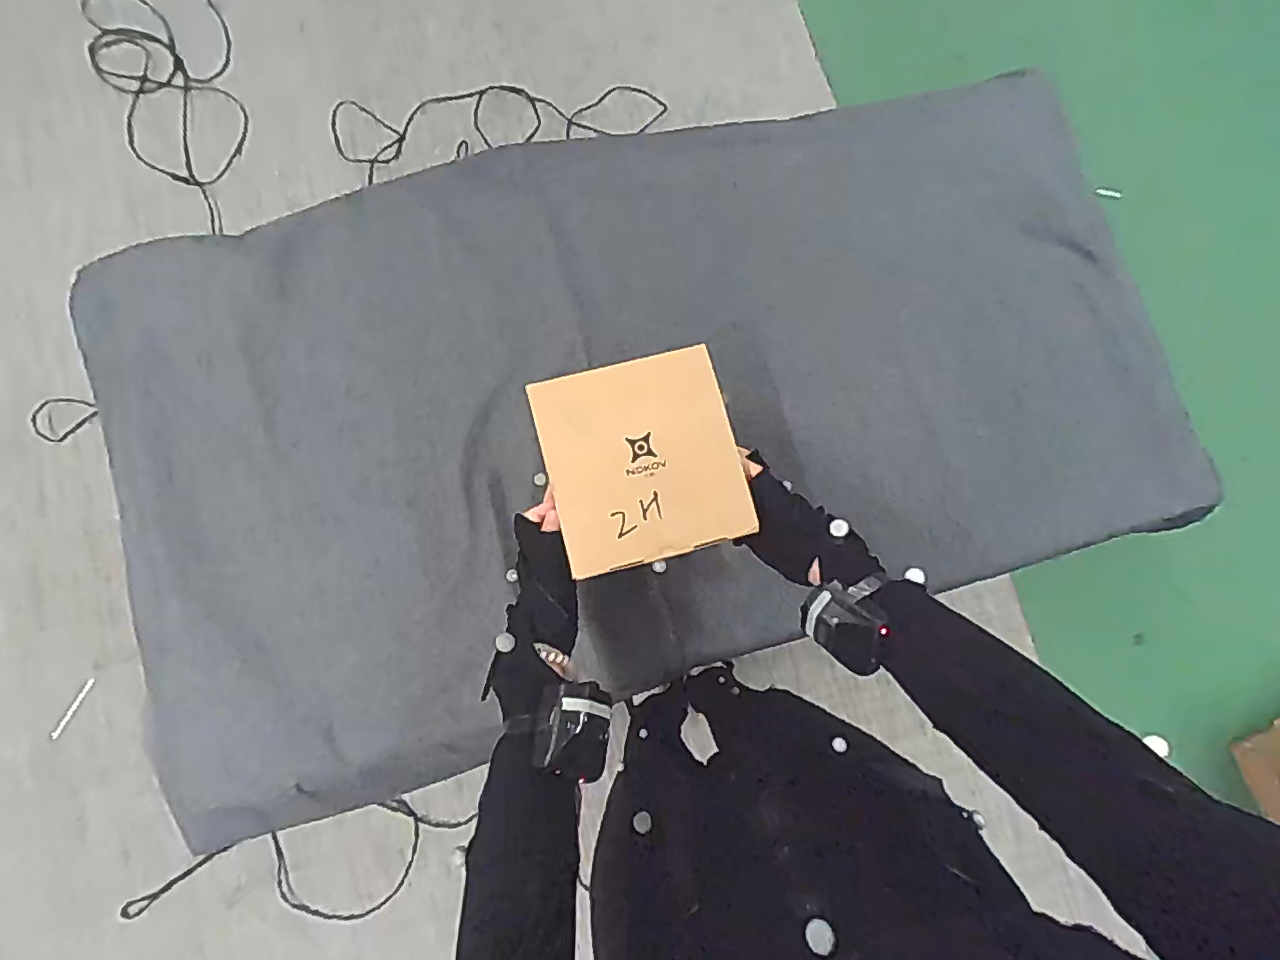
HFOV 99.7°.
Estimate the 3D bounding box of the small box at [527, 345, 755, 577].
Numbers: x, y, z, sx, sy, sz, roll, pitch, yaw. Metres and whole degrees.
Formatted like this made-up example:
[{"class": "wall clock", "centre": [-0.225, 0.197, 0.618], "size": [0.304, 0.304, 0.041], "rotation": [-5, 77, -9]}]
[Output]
[{"class": "small box", "centre": [-0.006, -0.008, 0.543], "size": [0.168, 0.176, 0.179], "rotation": [-15, 84, -5]}]
